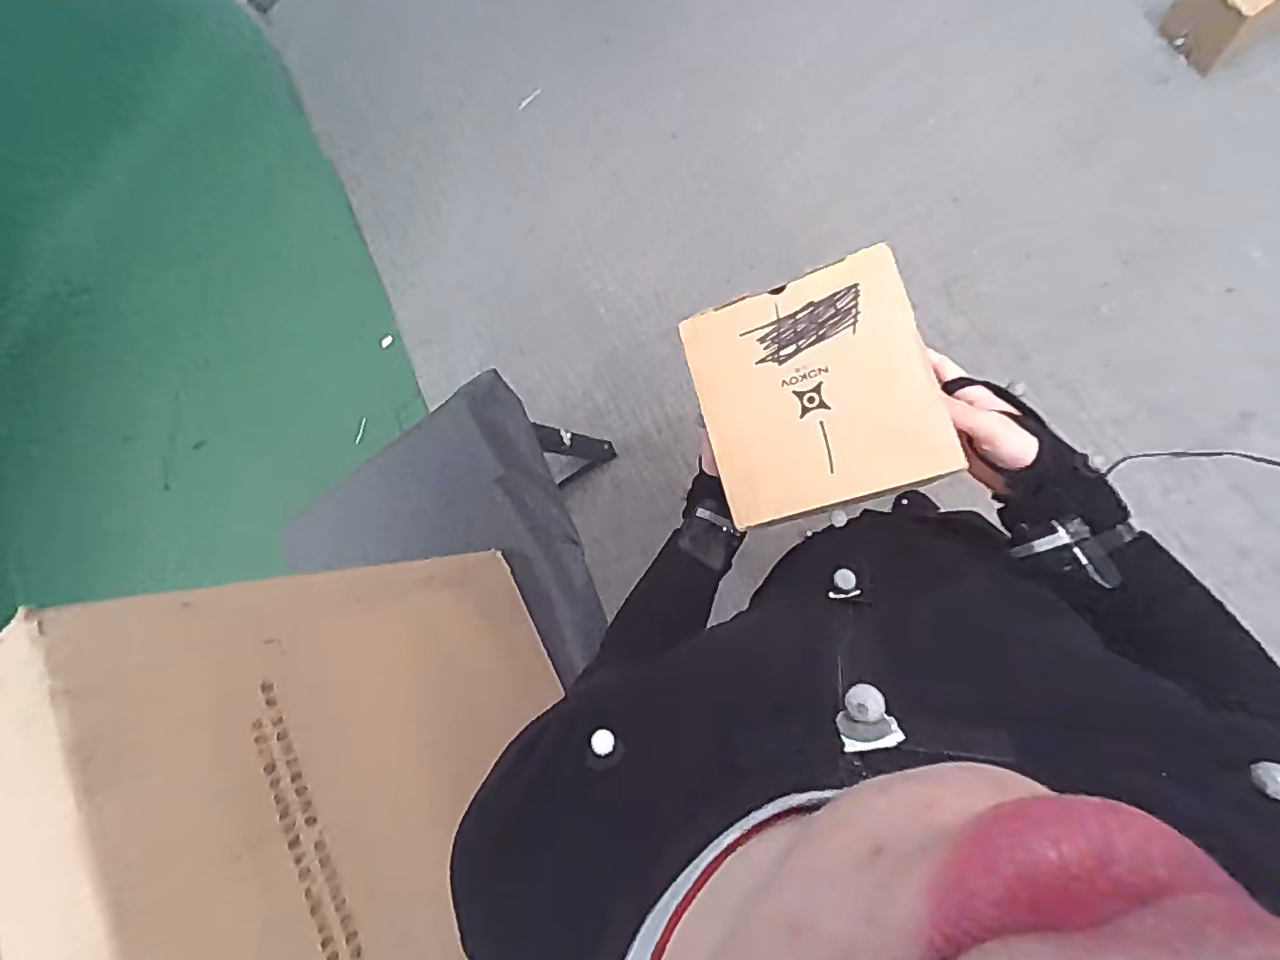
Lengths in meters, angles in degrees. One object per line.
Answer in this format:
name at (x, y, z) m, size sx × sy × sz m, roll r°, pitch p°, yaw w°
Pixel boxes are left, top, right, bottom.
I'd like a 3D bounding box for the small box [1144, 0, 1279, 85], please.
small box at (1.269, -1.024, 1.170) m, size 0.179 × 0.176 × 0.168 m, roll -31°, pitch 75°, yaw 18°
